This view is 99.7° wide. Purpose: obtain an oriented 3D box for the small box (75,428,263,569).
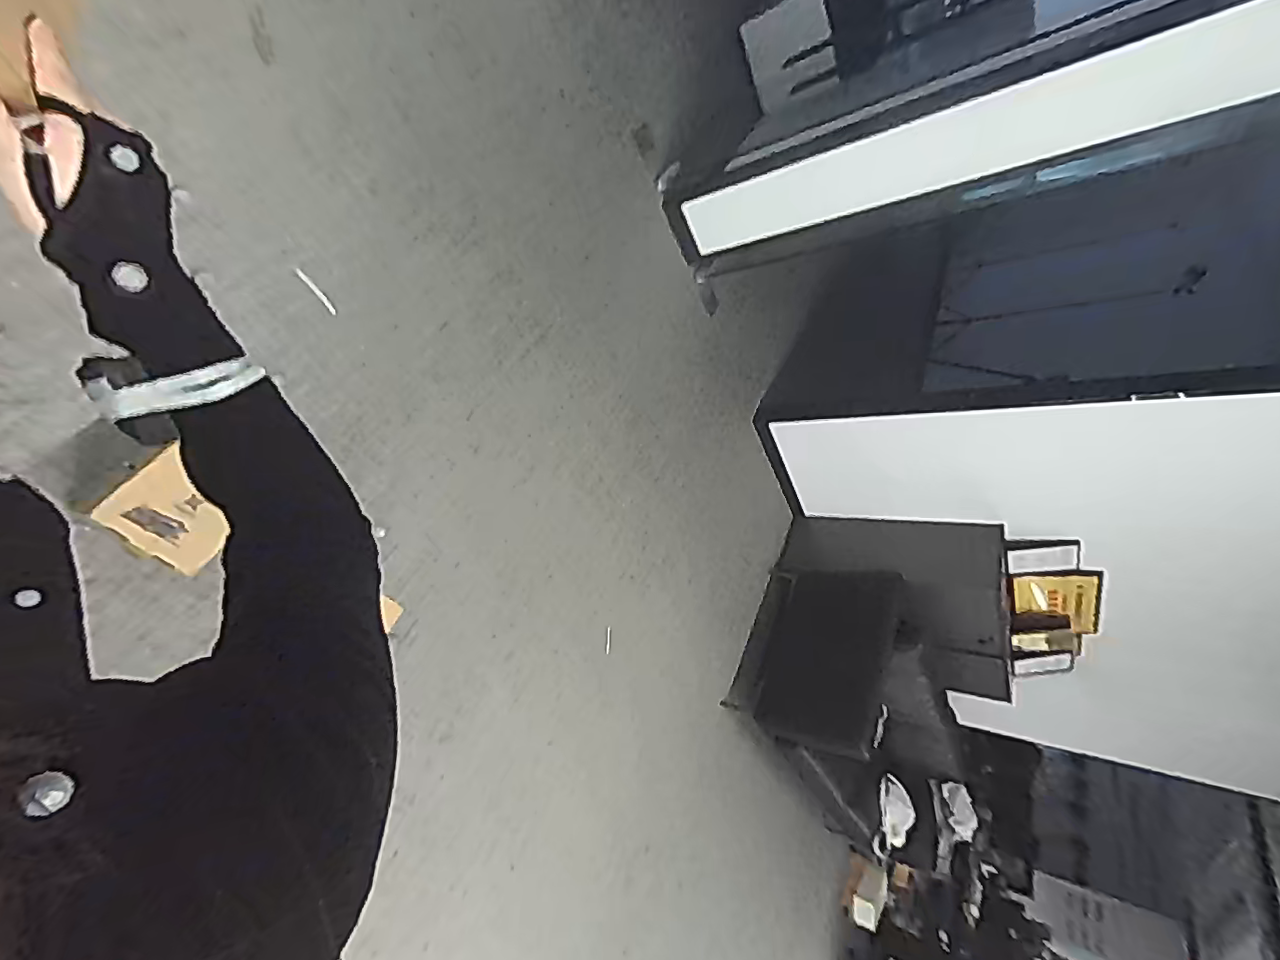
[{"bbox_3d":[-0.816,0.030,0.937,0.168,0.176,0.179,57,48,-37],"label":"small box"}]
